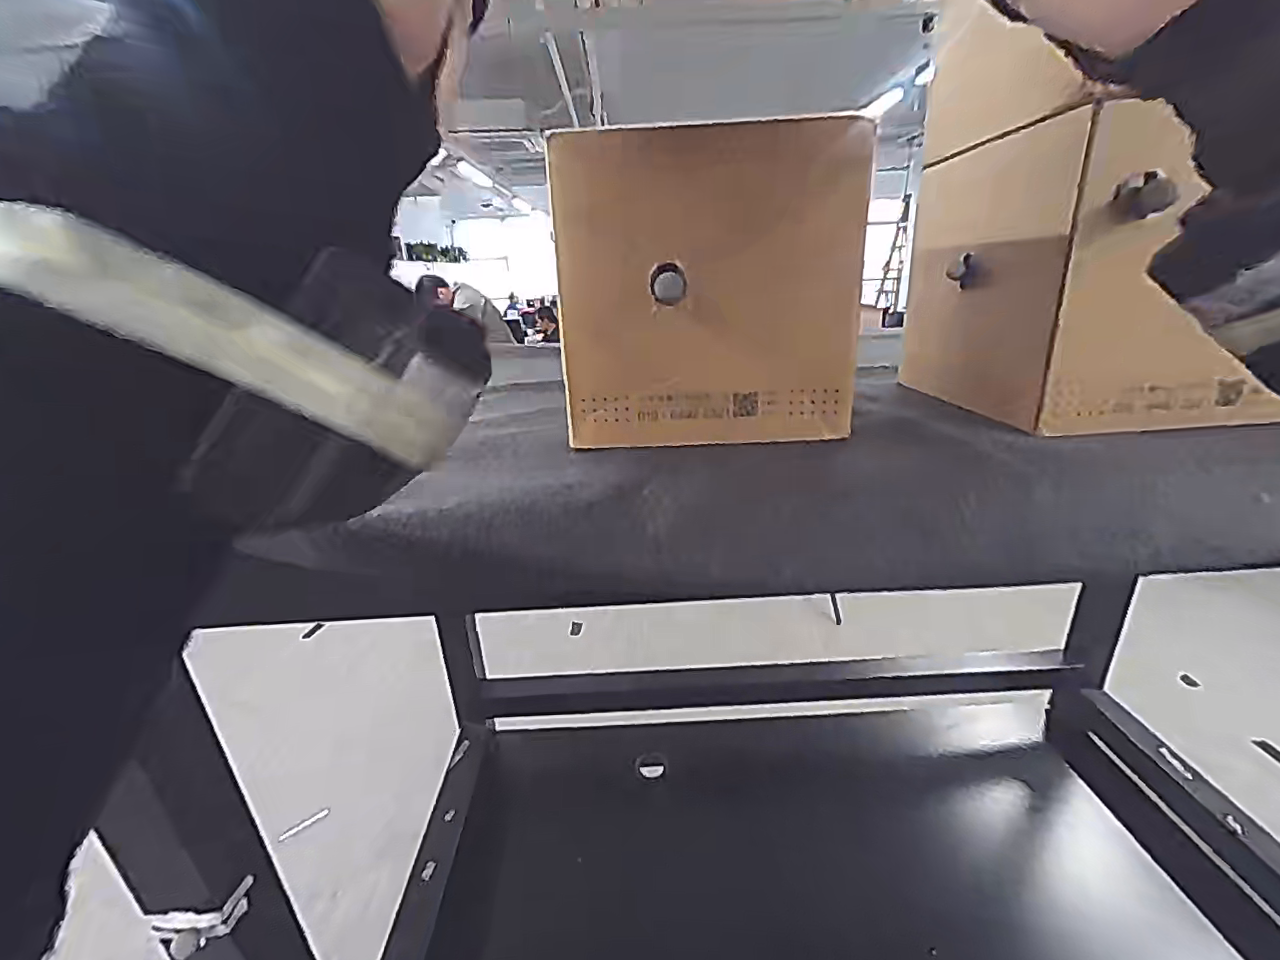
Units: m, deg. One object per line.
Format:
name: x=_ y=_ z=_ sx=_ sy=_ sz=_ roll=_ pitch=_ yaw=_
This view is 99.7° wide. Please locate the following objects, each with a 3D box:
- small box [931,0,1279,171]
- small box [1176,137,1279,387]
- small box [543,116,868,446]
small box: x=0.294 y=-0.288 z=0.308 sx=0.168 sy=0.176 sz=0.179 roll=-4 pitch=20 yaw=-1
small box: x=0.520 y=-0.143 z=0.351 sx=0.168 sy=0.176 sz=0.179 roll=-4 pitch=20 yaw=1
small box: x=0.039 y=-0.123 z=0.370 sx=0.168 sy=0.176 sz=0.179 roll=-2 pitch=20 yaw=2
